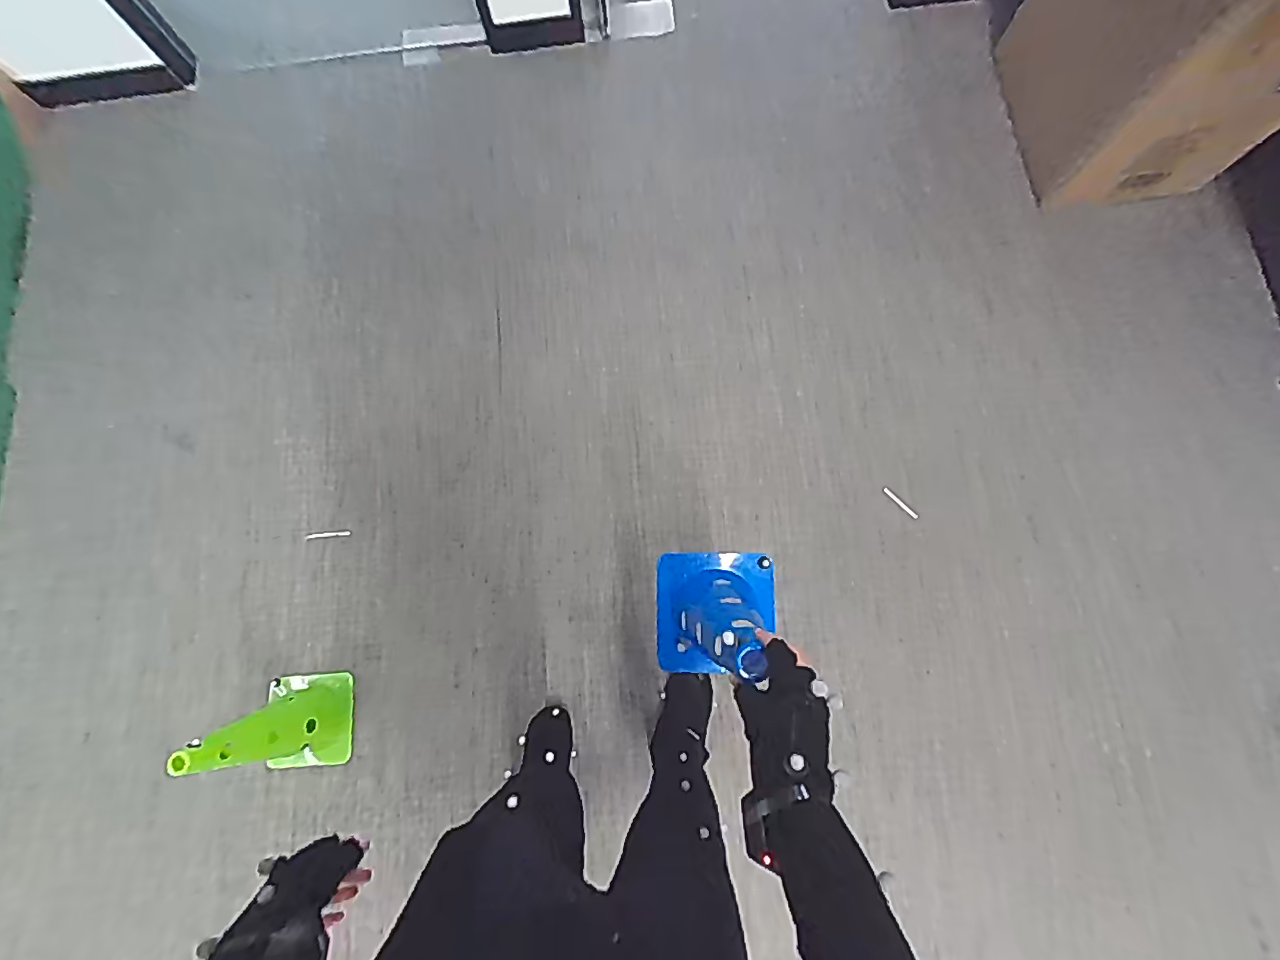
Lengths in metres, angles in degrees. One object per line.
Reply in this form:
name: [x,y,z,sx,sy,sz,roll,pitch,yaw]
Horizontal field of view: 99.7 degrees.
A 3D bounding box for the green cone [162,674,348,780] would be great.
green cone: [-0.780,0.523,1.077,0.202,0.368,0.200,-6,78,1]
